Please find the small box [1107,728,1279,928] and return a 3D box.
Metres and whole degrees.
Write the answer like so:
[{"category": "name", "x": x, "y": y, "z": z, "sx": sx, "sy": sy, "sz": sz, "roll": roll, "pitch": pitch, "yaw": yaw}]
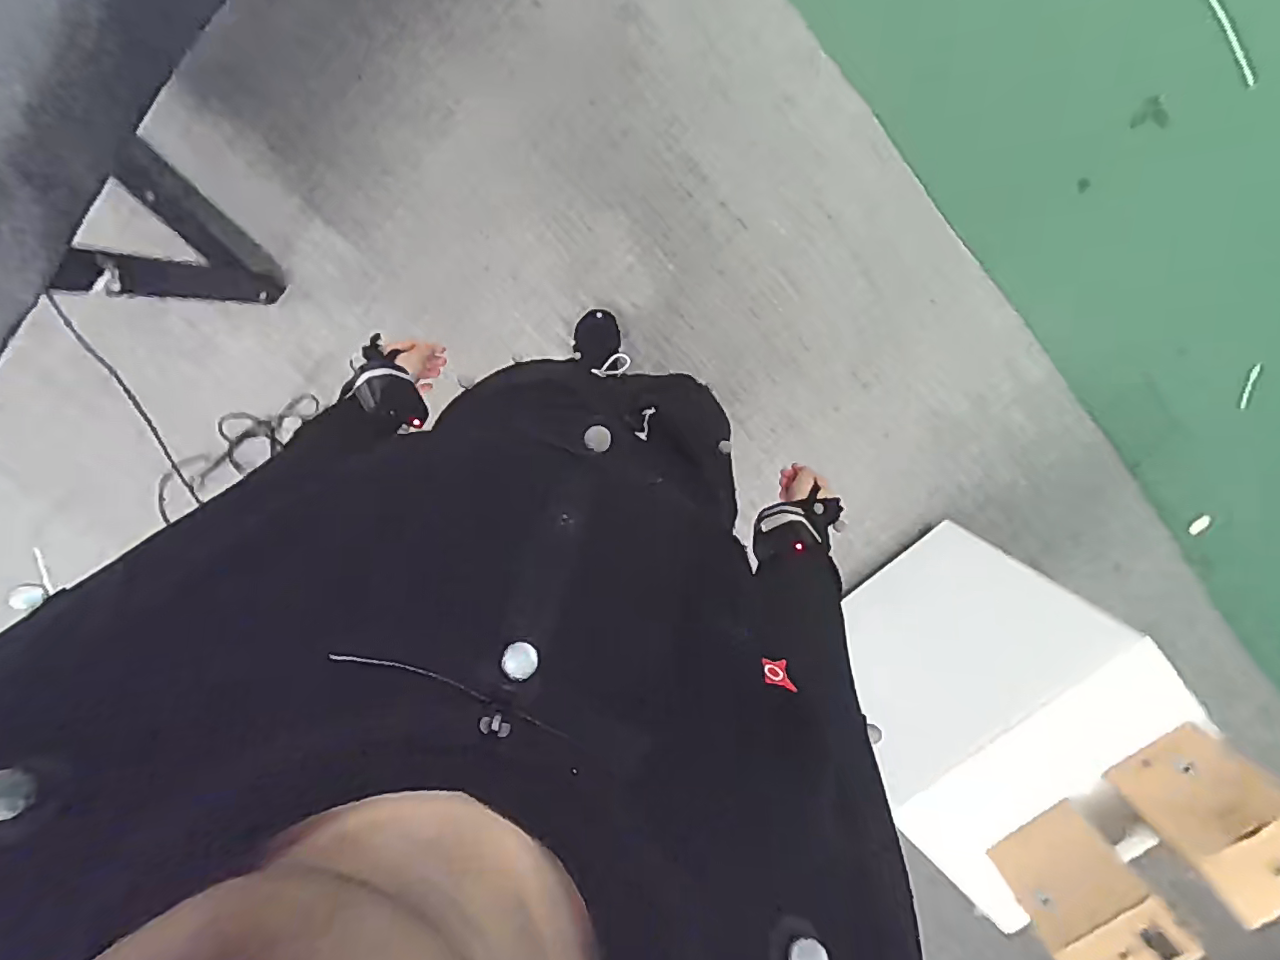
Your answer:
[{"category": "small box", "x": 0.907, "y": 0.535, "z": 0.850, "sx": 0.168, "sy": 0.176, "sz": 0.179, "roll": -41, "pitch": 102, "yaw": 10}]
